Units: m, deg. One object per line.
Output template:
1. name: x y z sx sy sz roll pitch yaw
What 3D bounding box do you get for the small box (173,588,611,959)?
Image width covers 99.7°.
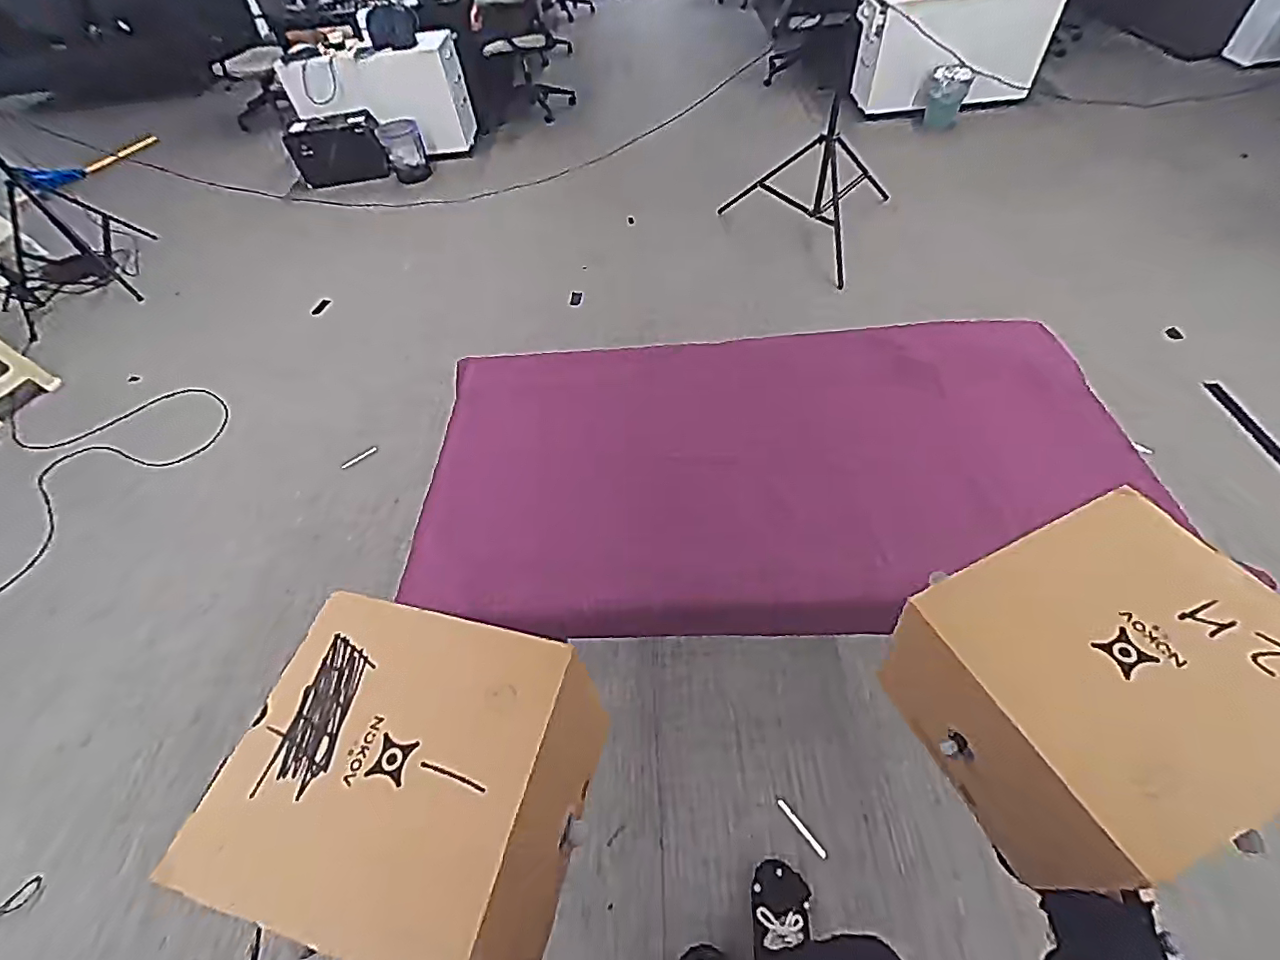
1. small box: -0.131 0.196 0.365 0.179 0.176 0.168 10 55 12

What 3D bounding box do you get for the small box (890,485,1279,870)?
1. small box: 0.299 0.141 0.373 0.179 0.176 0.168 -25 52 -5
